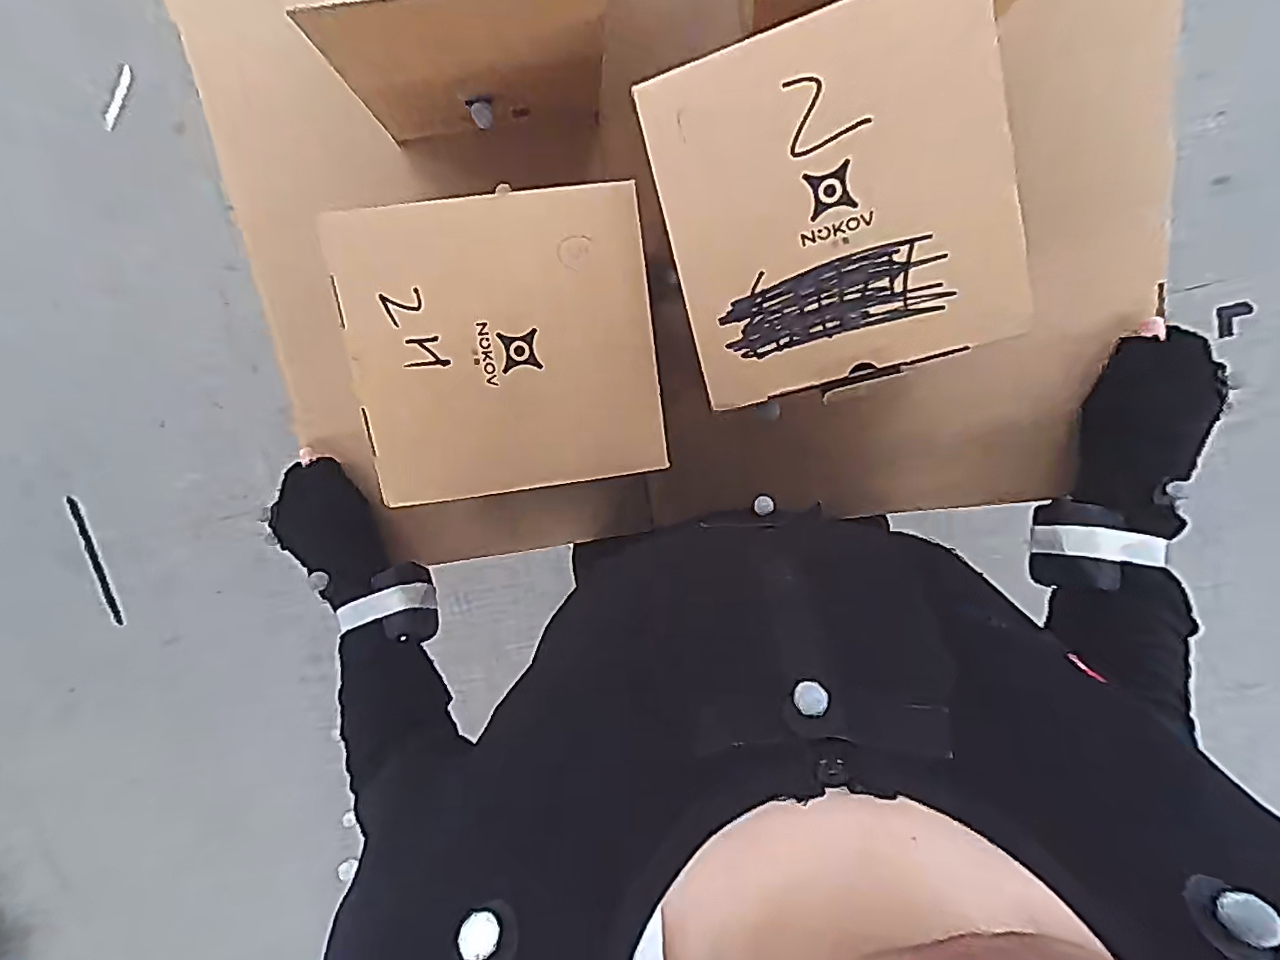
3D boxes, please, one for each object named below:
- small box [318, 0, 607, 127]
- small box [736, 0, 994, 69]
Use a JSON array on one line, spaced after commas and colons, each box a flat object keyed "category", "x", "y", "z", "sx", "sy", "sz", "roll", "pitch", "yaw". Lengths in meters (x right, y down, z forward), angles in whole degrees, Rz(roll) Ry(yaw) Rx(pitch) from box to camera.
[{"category": "small box", "x": -0.117, "y": -0.357, "z": 0.331, "sx": 0.168, "sy": 0.176, "sz": 0.179, "roll": -11, "pitch": 102, "yaw": -2}, {"category": "small box", "x": 0.133, "y": -0.366, "z": 0.297, "sx": 0.168, "sy": 0.176, "sz": 0.179, "roll": -5, "pitch": 102, "yaw": 11}]
